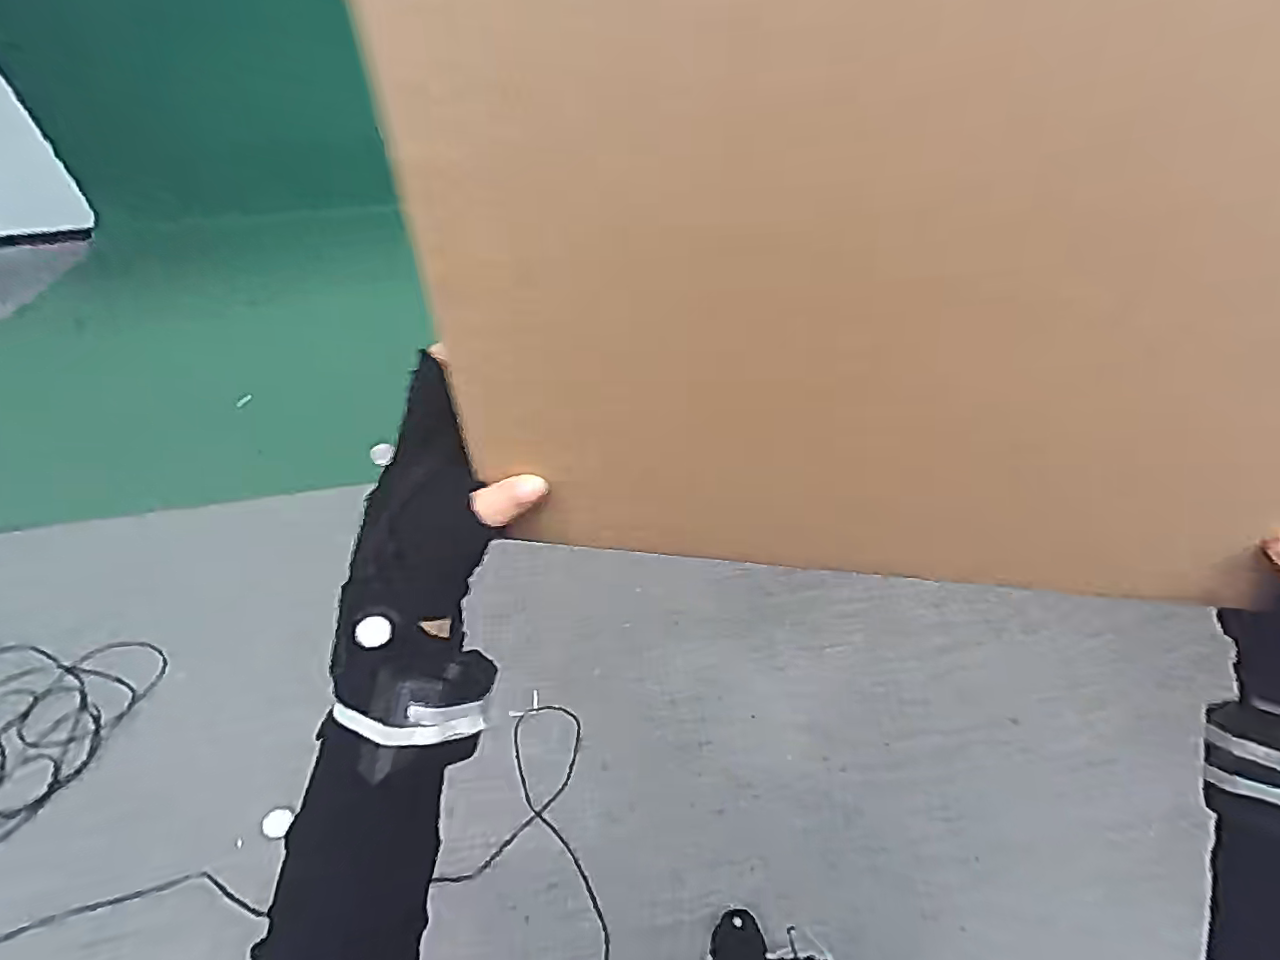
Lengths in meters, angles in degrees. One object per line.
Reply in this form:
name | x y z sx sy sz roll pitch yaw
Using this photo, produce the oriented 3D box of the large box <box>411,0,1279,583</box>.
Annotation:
large box | 0.139 -0.167 0.289 0.408 0.320 0.320 5 46 0
